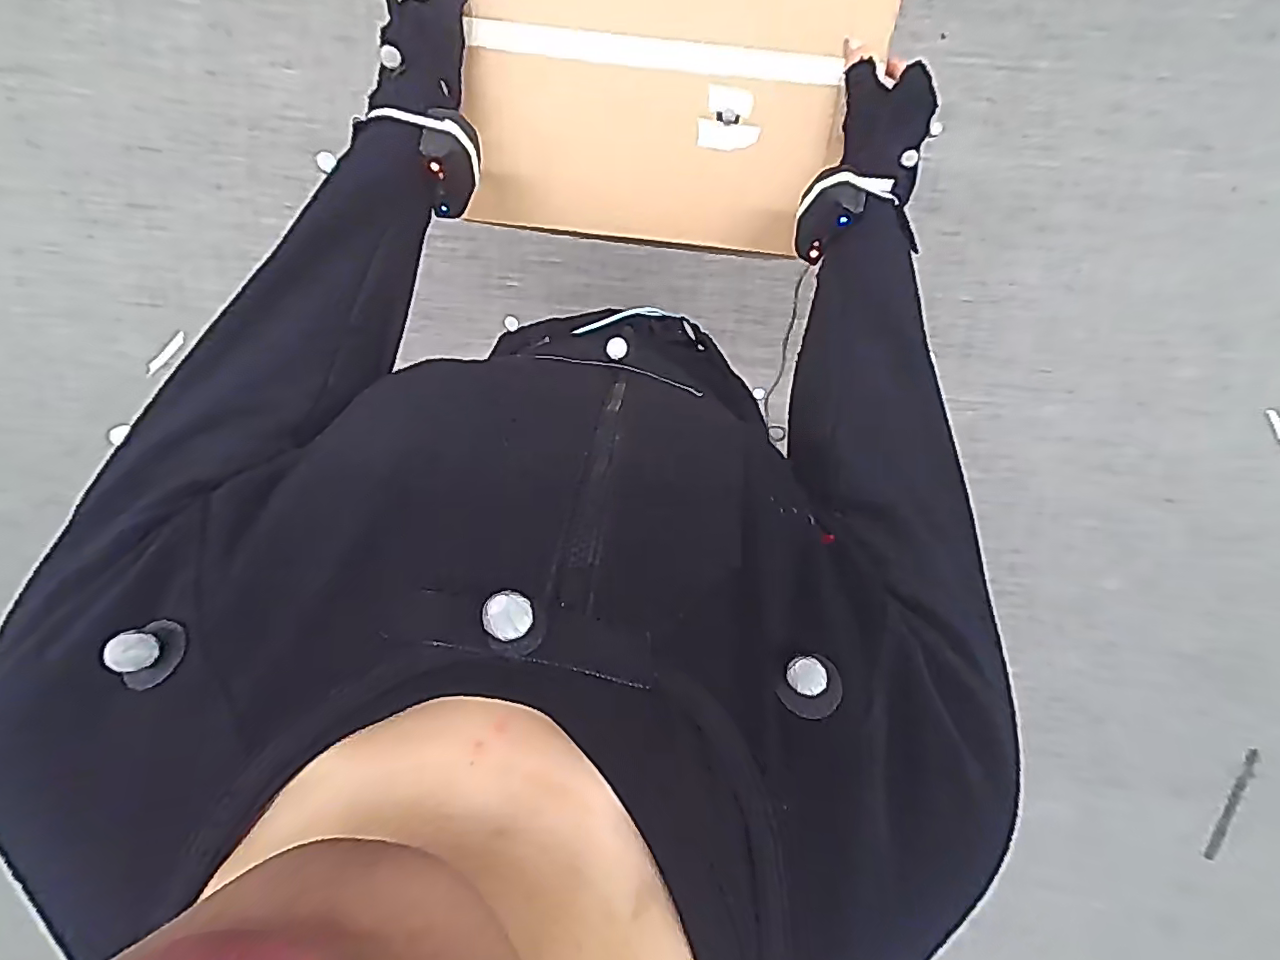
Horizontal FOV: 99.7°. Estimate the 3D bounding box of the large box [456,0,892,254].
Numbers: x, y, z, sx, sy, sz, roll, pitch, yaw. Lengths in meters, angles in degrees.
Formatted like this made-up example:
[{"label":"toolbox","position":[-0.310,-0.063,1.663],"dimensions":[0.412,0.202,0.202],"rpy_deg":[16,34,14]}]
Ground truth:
[{"label":"large box","position":[0.027,-0.454,0.645],"dimensions":[0.408,0.320,0.320],"rpy_deg":[5,113,-1]}]
